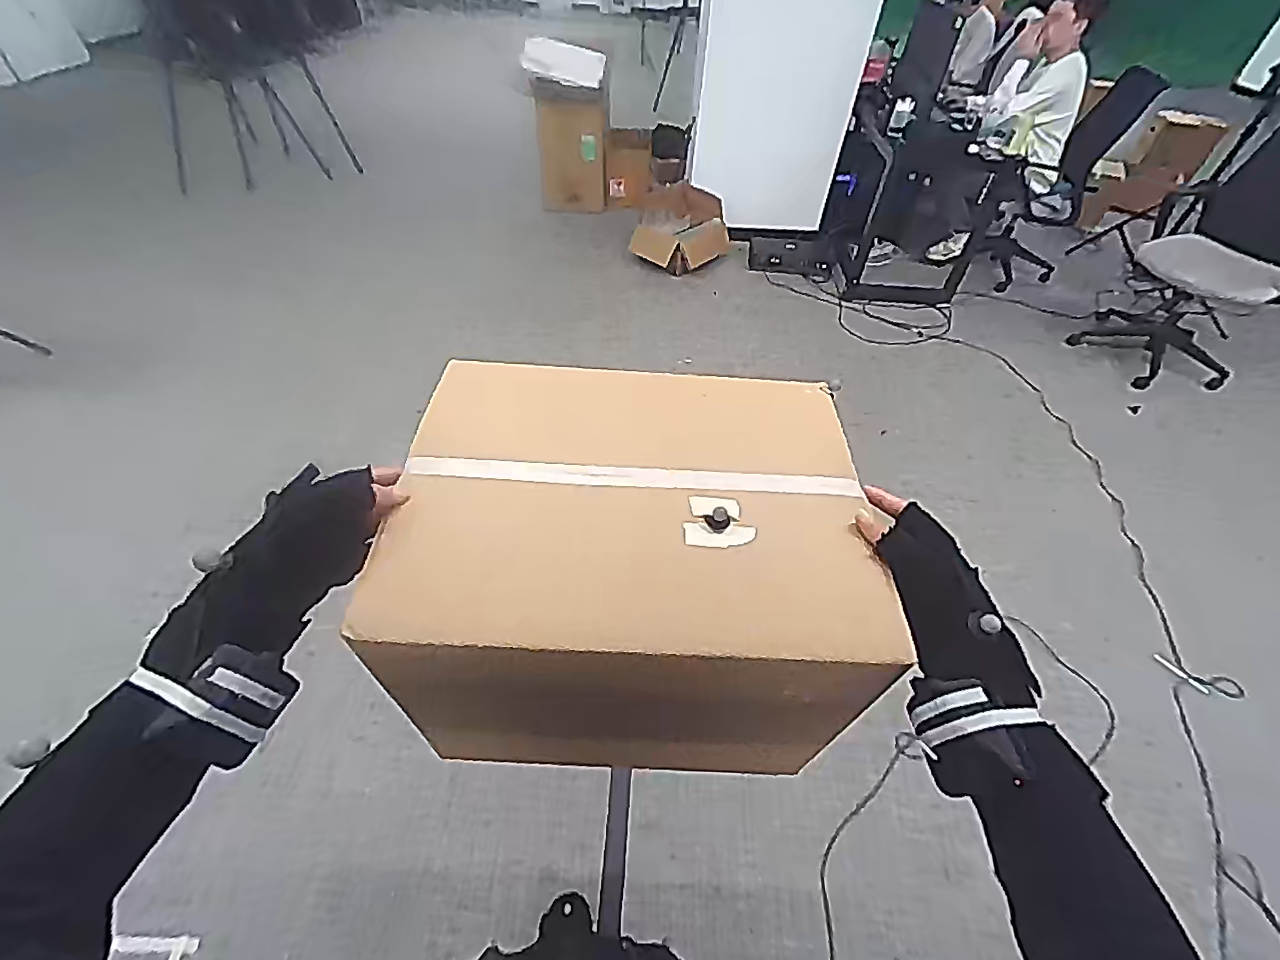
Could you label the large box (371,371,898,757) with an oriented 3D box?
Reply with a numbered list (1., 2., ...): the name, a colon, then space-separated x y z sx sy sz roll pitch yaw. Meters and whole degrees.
1. large box: -0.010 0.103 0.607 0.408 0.320 0.320 4 49 -2
